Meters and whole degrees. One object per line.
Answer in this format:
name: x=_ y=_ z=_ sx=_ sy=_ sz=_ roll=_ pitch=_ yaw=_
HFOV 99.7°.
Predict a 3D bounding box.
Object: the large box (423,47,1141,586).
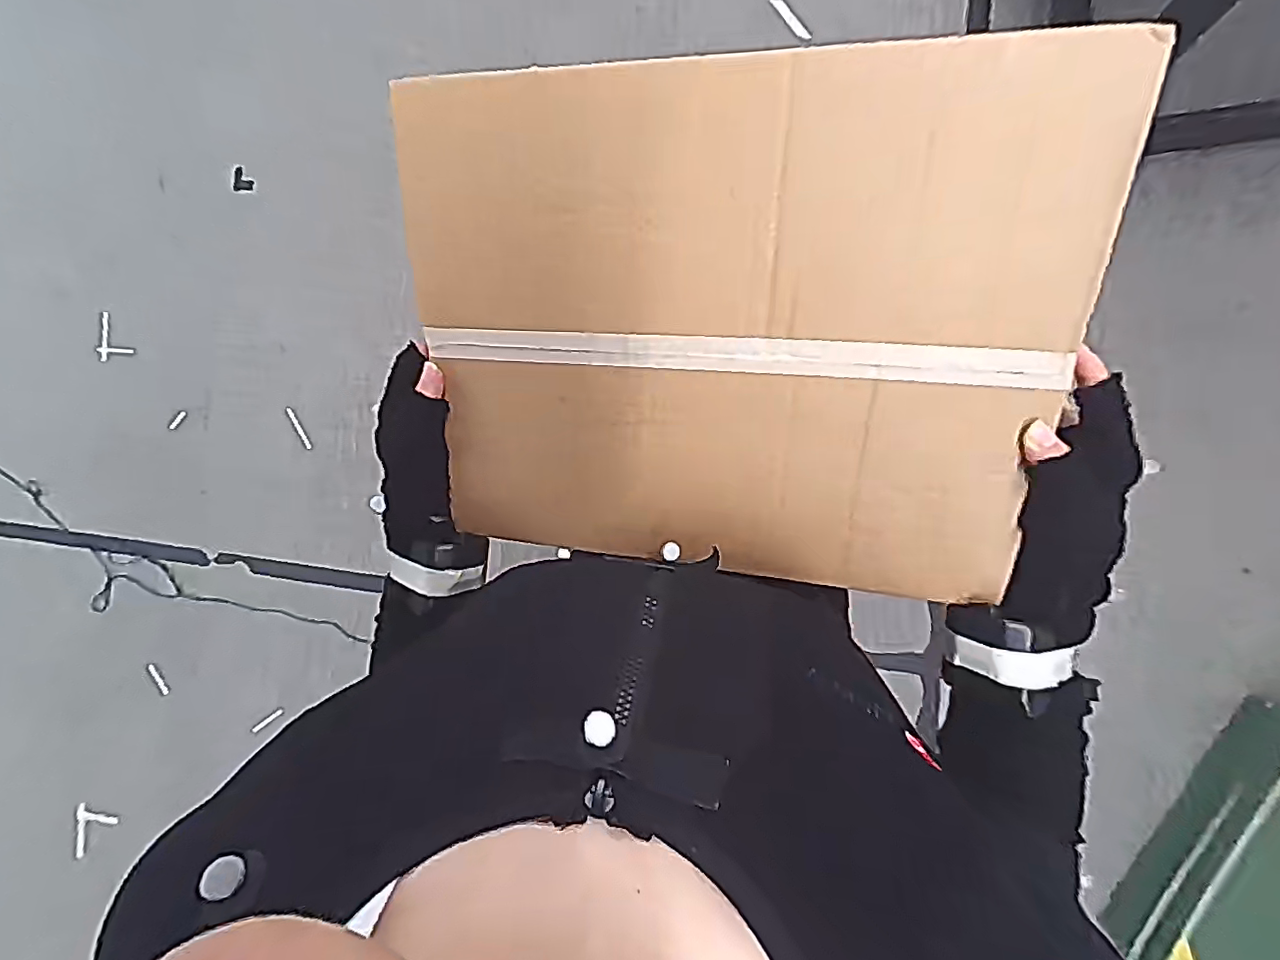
large box: x=0.085 y=-0.138 z=0.493 sx=0.408 sy=0.320 sz=0.320 roll=6 pitch=114 yaw=13
